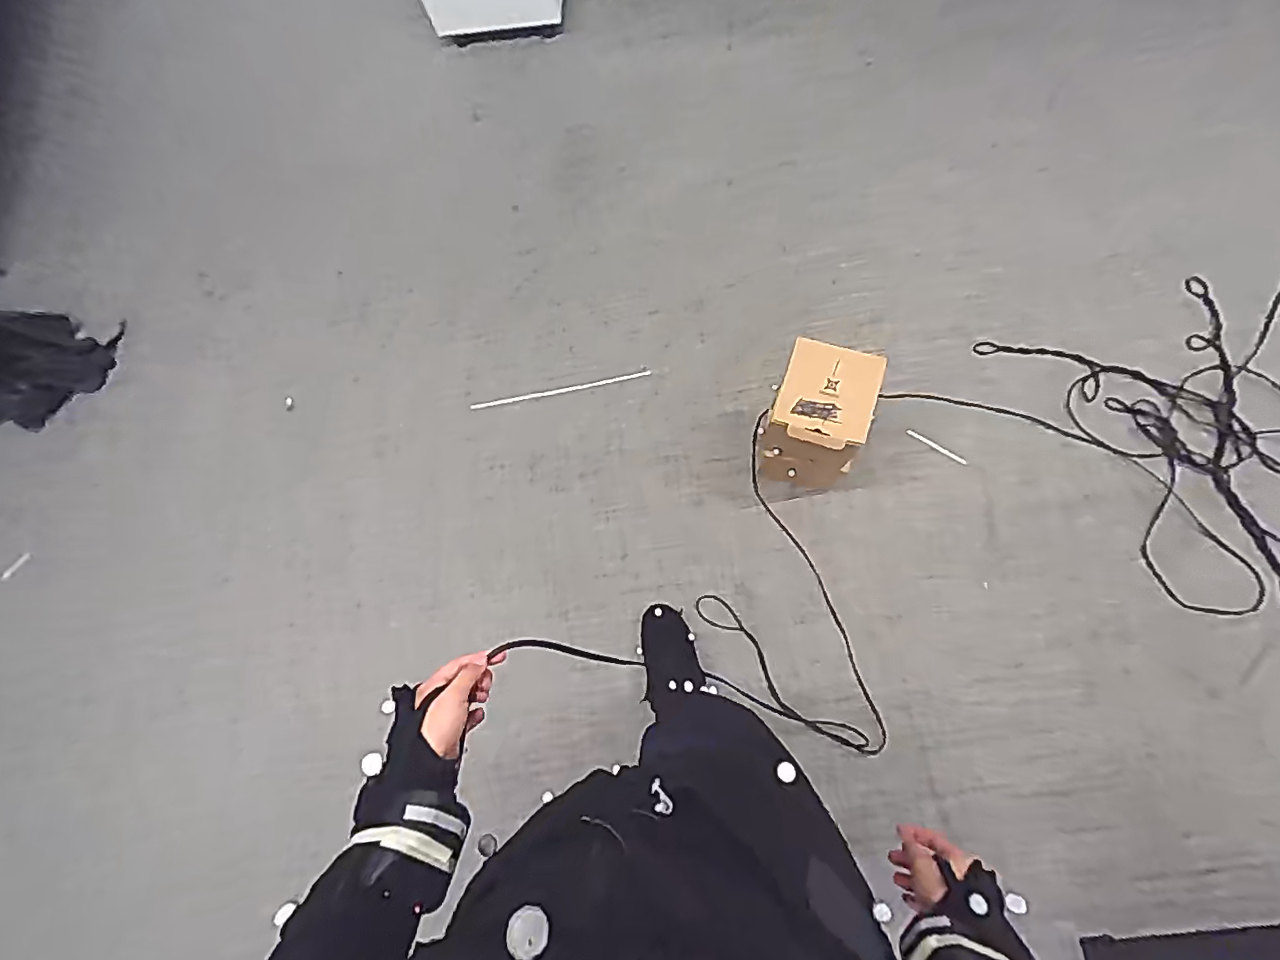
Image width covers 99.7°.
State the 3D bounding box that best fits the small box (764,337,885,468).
[{"bbox_3d":[0.343,-0.140,1.040,0.168,0.176,0.179,18,77,10],"label":"small box"}]

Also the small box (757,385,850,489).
[{"bbox_3d":[0.363,-0.088,1.196,0.179,0.176,0.168,12,77,10],"label":"small box"}]
